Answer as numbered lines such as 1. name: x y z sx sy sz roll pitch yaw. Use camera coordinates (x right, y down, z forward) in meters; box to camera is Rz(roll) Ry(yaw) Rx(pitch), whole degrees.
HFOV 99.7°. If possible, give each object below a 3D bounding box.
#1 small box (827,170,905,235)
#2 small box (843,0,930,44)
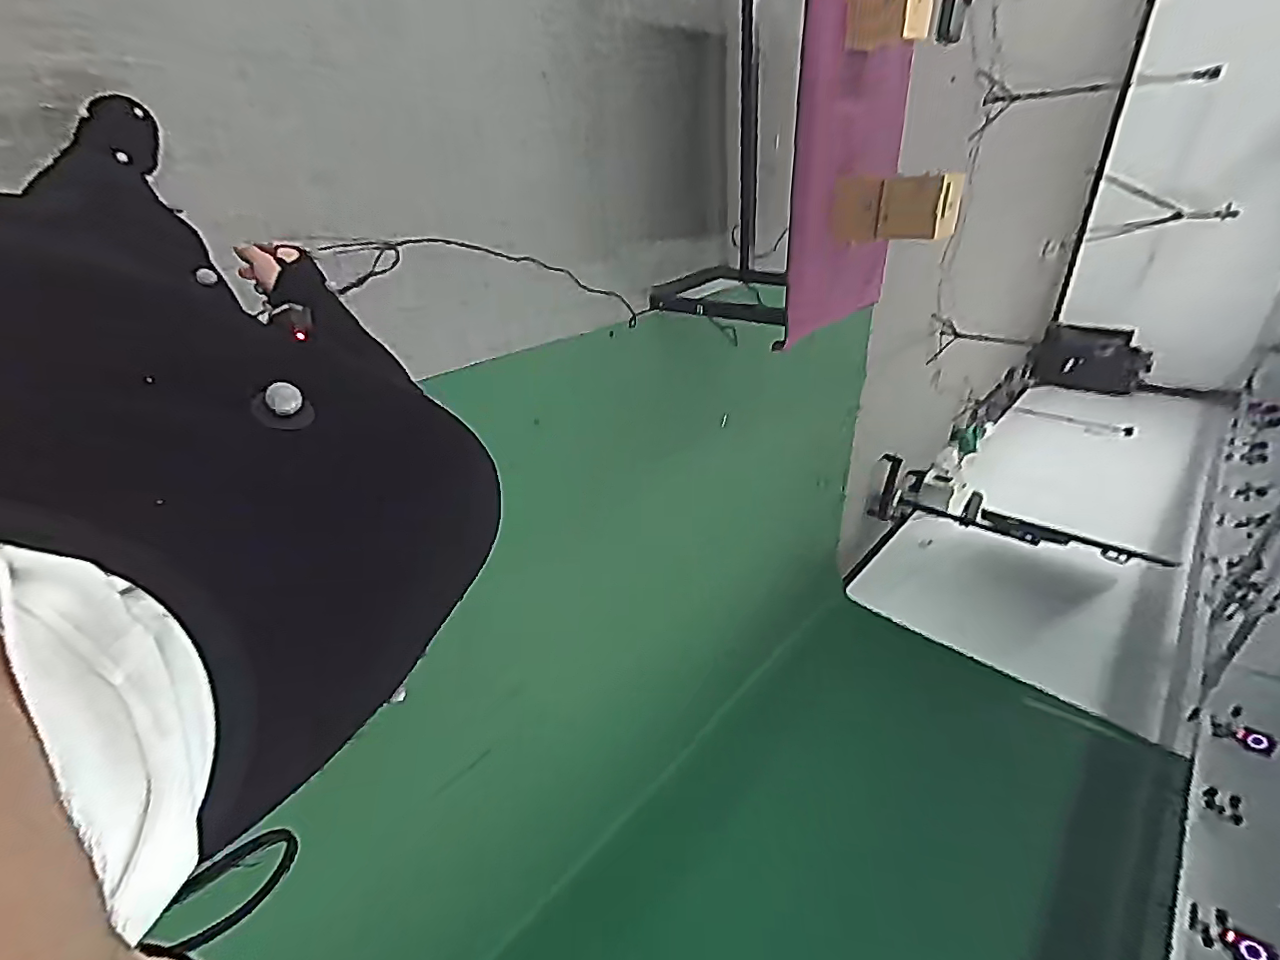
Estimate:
1. small box: 0.716 -0.882 1.723 0.168 0.176 0.179 -28 128 -37
2. small box: 0.669 -1.306 1.465 0.168 0.176 0.179 -32 129 -35
